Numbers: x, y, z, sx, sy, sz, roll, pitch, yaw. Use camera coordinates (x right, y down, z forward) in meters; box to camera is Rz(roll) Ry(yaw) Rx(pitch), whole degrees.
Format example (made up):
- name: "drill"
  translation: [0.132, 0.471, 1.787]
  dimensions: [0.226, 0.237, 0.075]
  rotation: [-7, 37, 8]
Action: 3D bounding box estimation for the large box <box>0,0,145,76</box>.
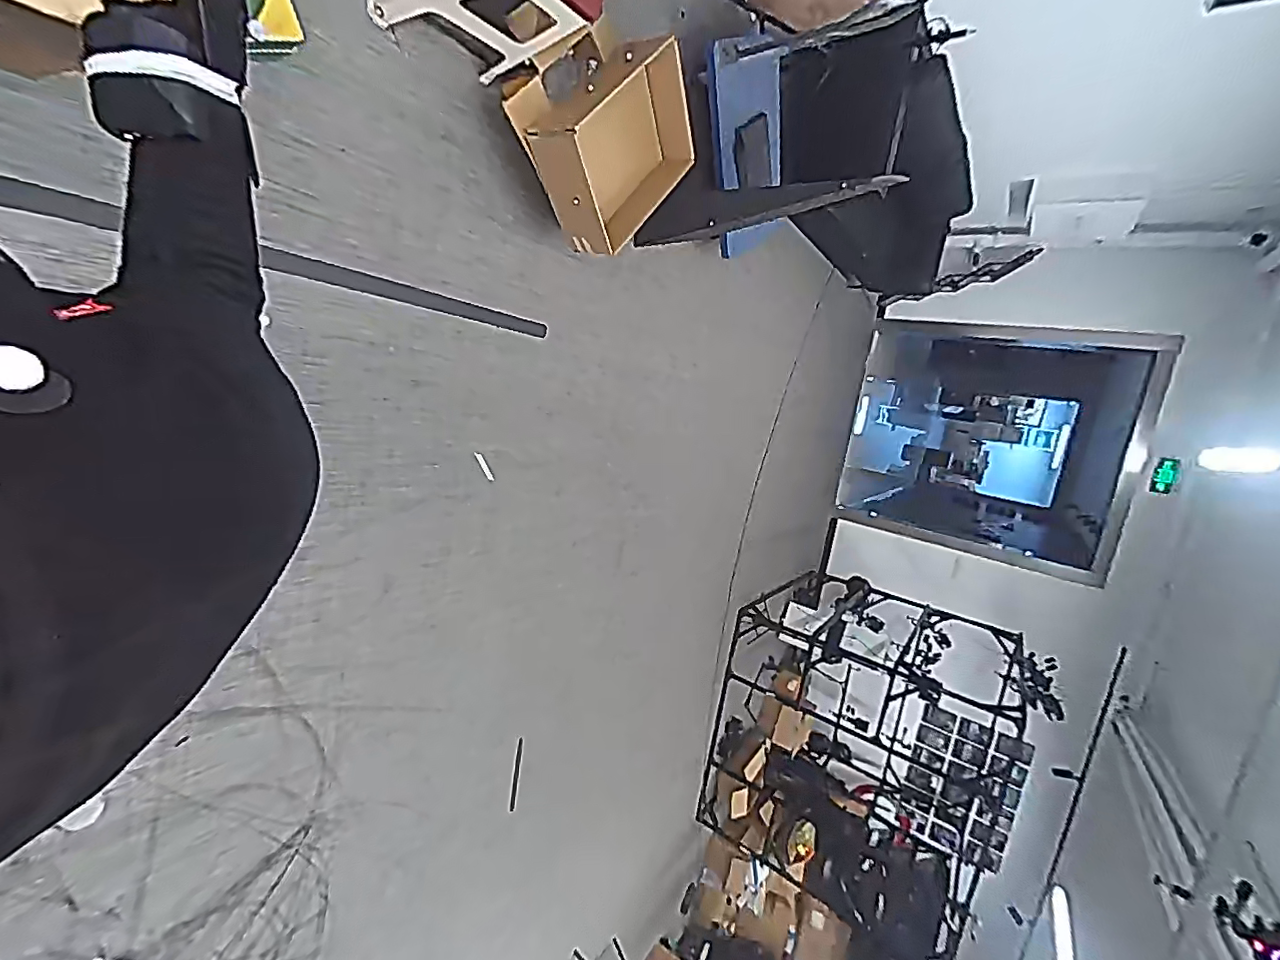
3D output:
- name: "large box"
  translation: [-0.541, -0.452, 0.237]
  dimensions: [0.408, 0.320, 0.320]
  rotation: [-12, 120, -56]
